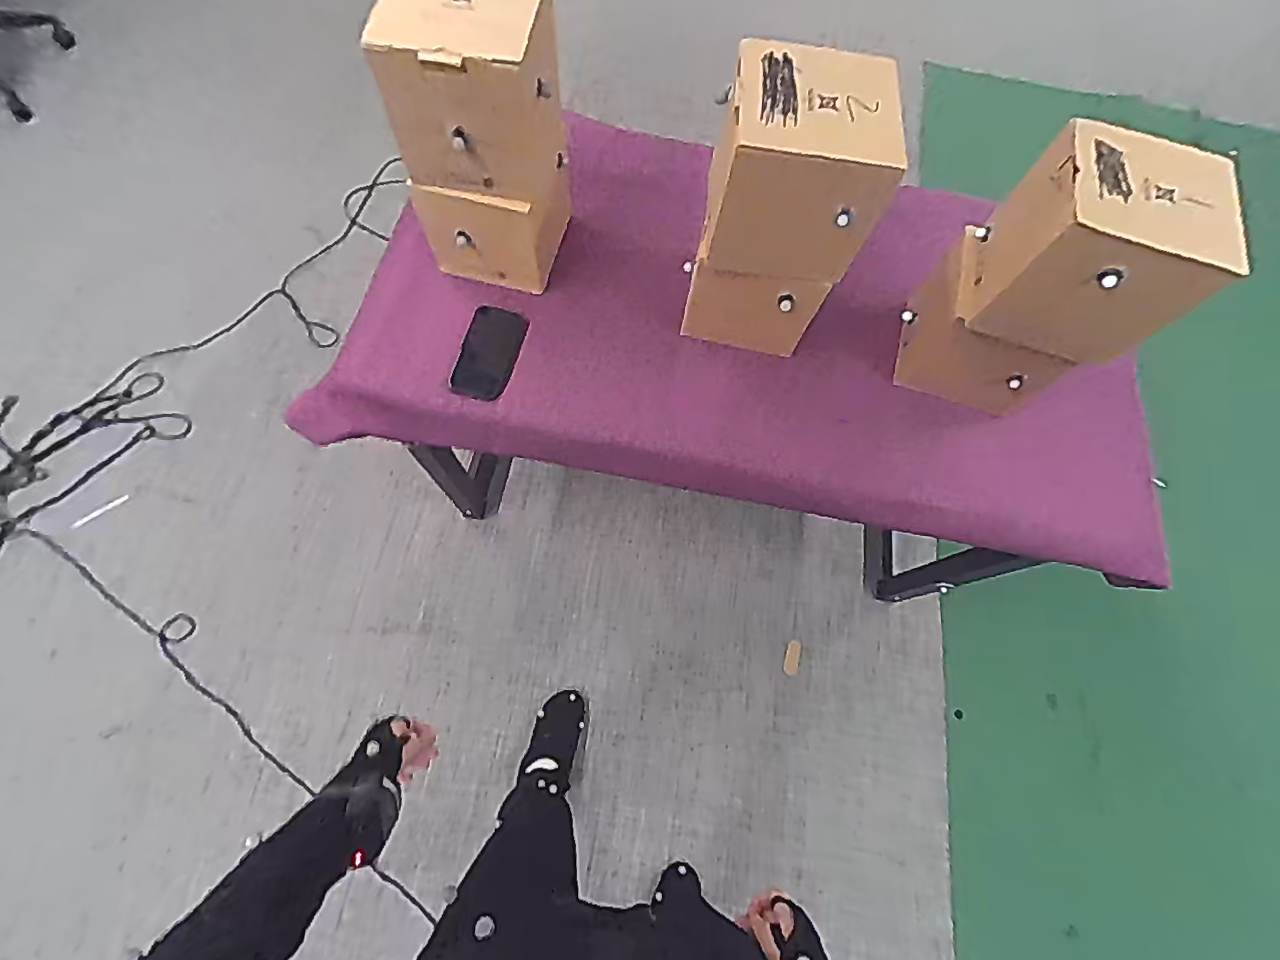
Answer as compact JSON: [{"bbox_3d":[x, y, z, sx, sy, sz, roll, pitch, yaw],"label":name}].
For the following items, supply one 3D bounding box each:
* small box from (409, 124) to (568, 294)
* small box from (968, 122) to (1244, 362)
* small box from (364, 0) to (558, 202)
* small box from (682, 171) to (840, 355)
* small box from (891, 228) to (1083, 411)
[{"bbox_3d":[-0.208,-0.407,0.803,0.168,0.176,0.179,13,69,1],"label":"small box"},{"bbox_3d":[0.516,-0.263,0.626,0.179,0.176,0.168,18,69,2],"label":"small box"},{"bbox_3d":[-0.196,-0.472,0.652,0.168,0.176,0.179,8,70,-2],"label":"small box"},{"bbox_3d":[0.170,-0.306,0.791,0.179,0.176,0.168,12,69,1],"label":"small box"},{"bbox_3d":[0.499,-0.221,0.784,0.179,0.176,0.168,18,69,3],"label":"small box"}]
